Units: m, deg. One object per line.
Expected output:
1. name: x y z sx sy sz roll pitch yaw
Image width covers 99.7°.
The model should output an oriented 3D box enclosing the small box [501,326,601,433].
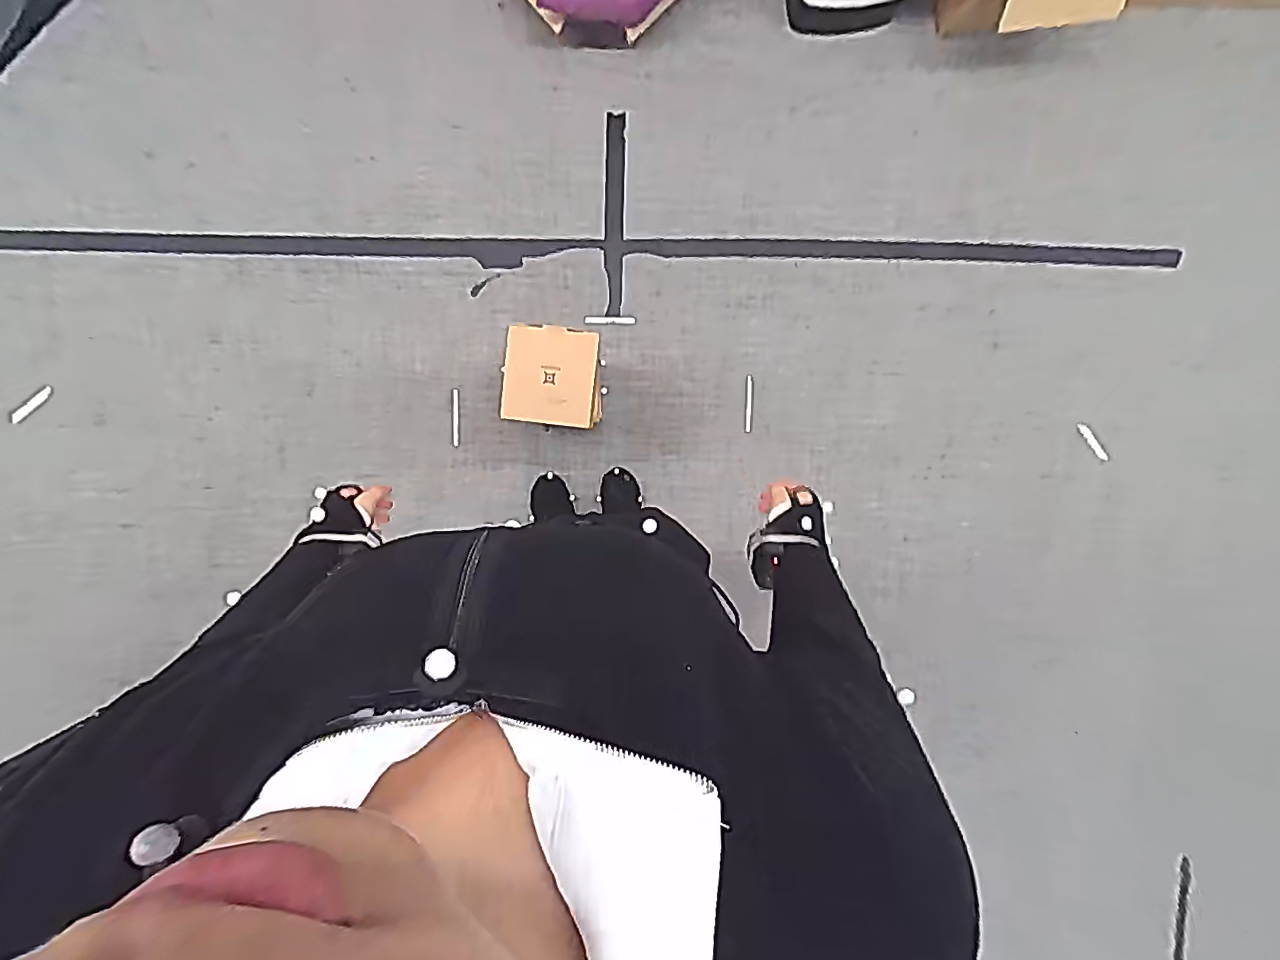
1. small box: -0.166 -0.189 1.056 0.168 0.176 0.179 6 96 -3
